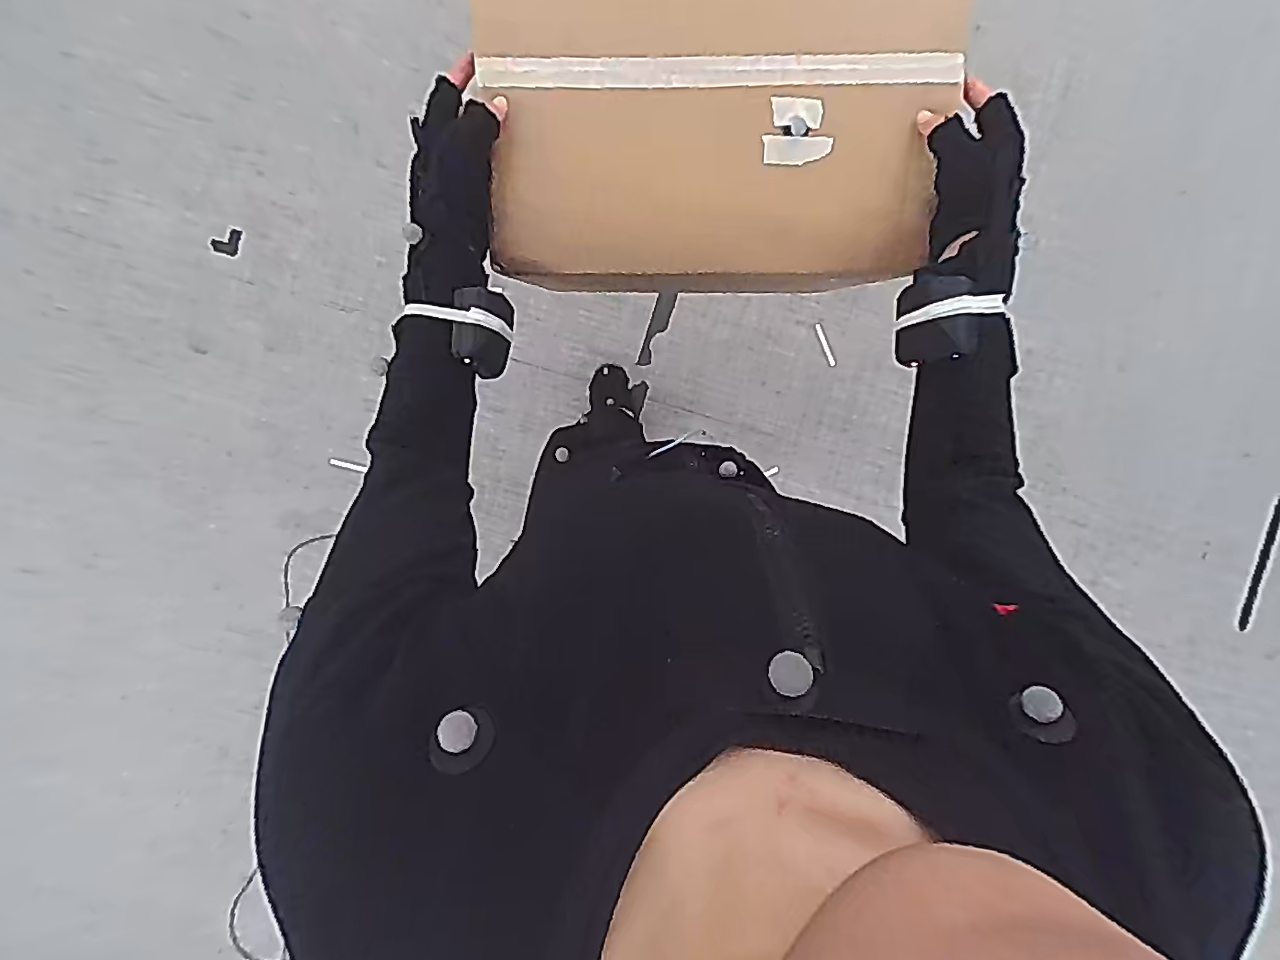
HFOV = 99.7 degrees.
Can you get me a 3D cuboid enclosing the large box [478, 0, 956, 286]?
[{"bbox_3d":[0.061,-0.395,0.603,0.408,0.320,0.320,0,107,0],"label":"large box"}]
